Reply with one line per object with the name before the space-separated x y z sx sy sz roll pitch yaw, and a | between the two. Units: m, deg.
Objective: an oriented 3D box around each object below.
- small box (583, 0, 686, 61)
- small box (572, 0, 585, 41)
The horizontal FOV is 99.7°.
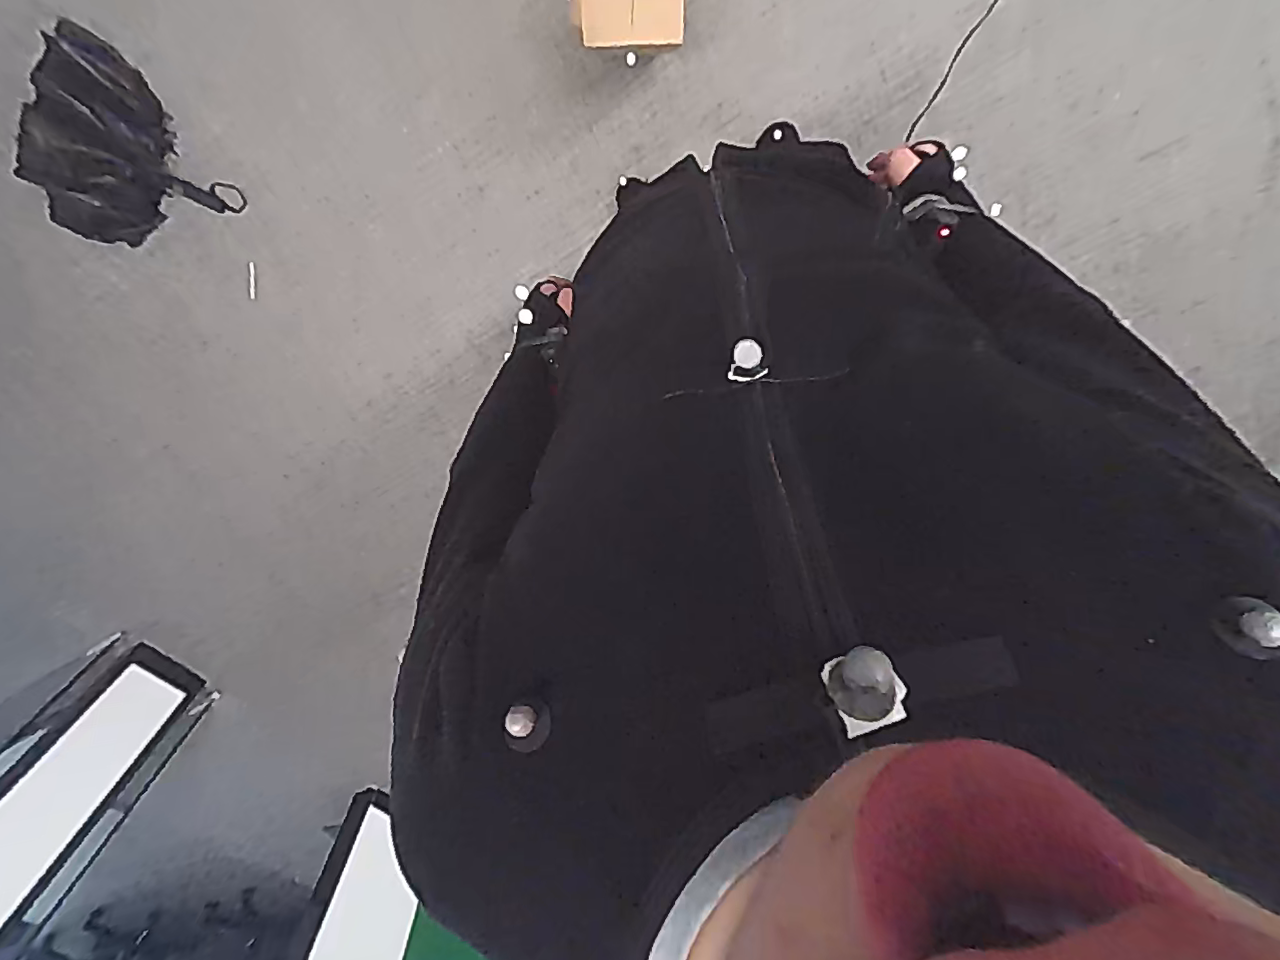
small box | -0.009 -0.822 0.907 0.168 0.176 0.179 0 124 2
small box | -0.026 -0.929 1.033 0.179 0.176 0.168 9 123 -7
